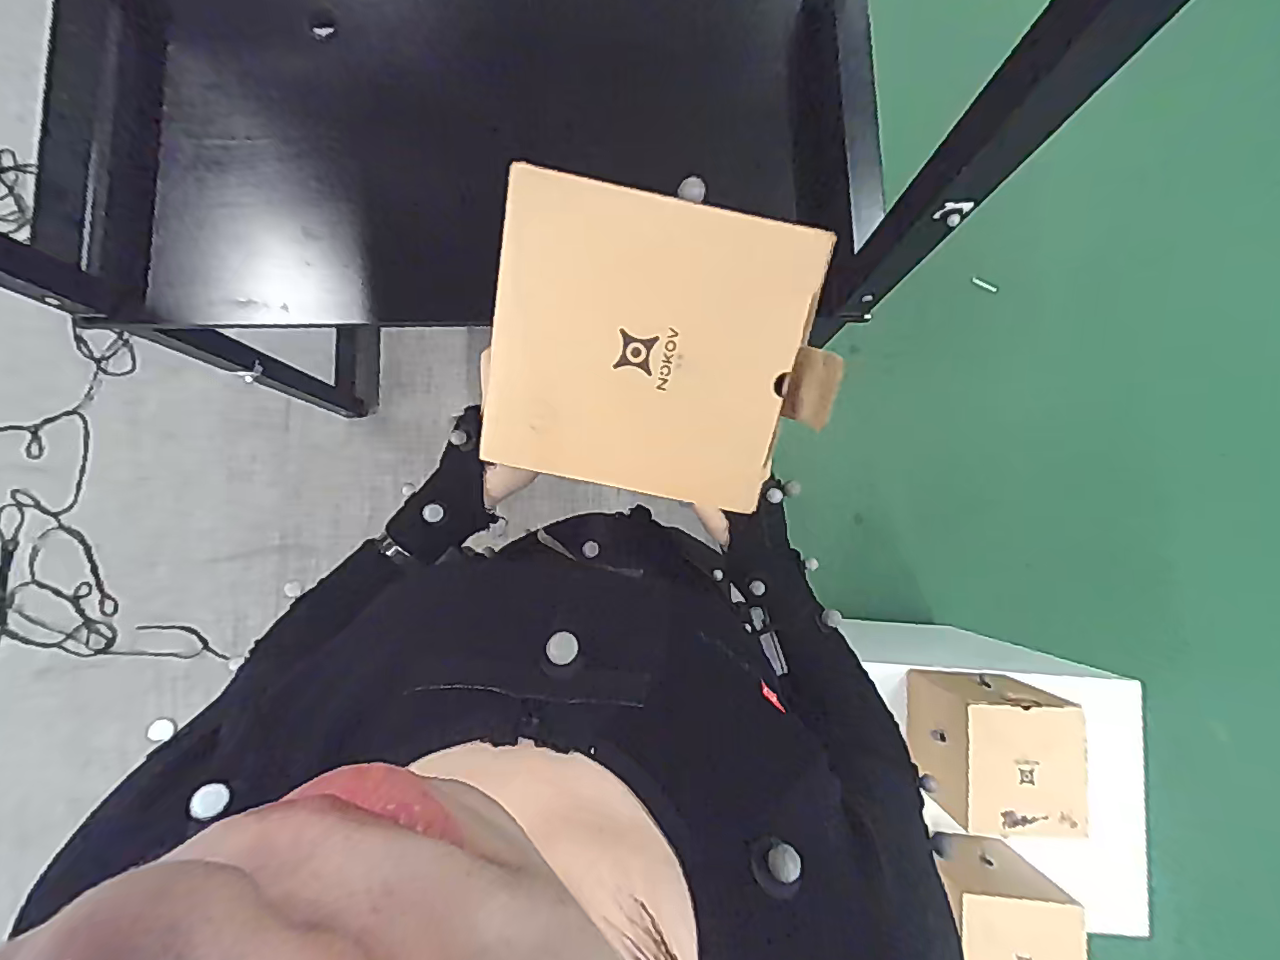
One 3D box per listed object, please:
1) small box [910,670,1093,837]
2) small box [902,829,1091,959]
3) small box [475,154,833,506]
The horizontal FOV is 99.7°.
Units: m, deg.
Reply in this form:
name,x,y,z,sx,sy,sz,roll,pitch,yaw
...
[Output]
name,x,y,z,sx,sy,sz,roll,pitch,yaw
small box,0.522,0.391,0.803,0.168,0.176,0.179,3,85,0
small box,0.497,0.639,0.777,0.168,0.176,0.179,6,85,1
small box,0.003,-0.100,0.380,0.179,0.176,0.168,11,108,-3
